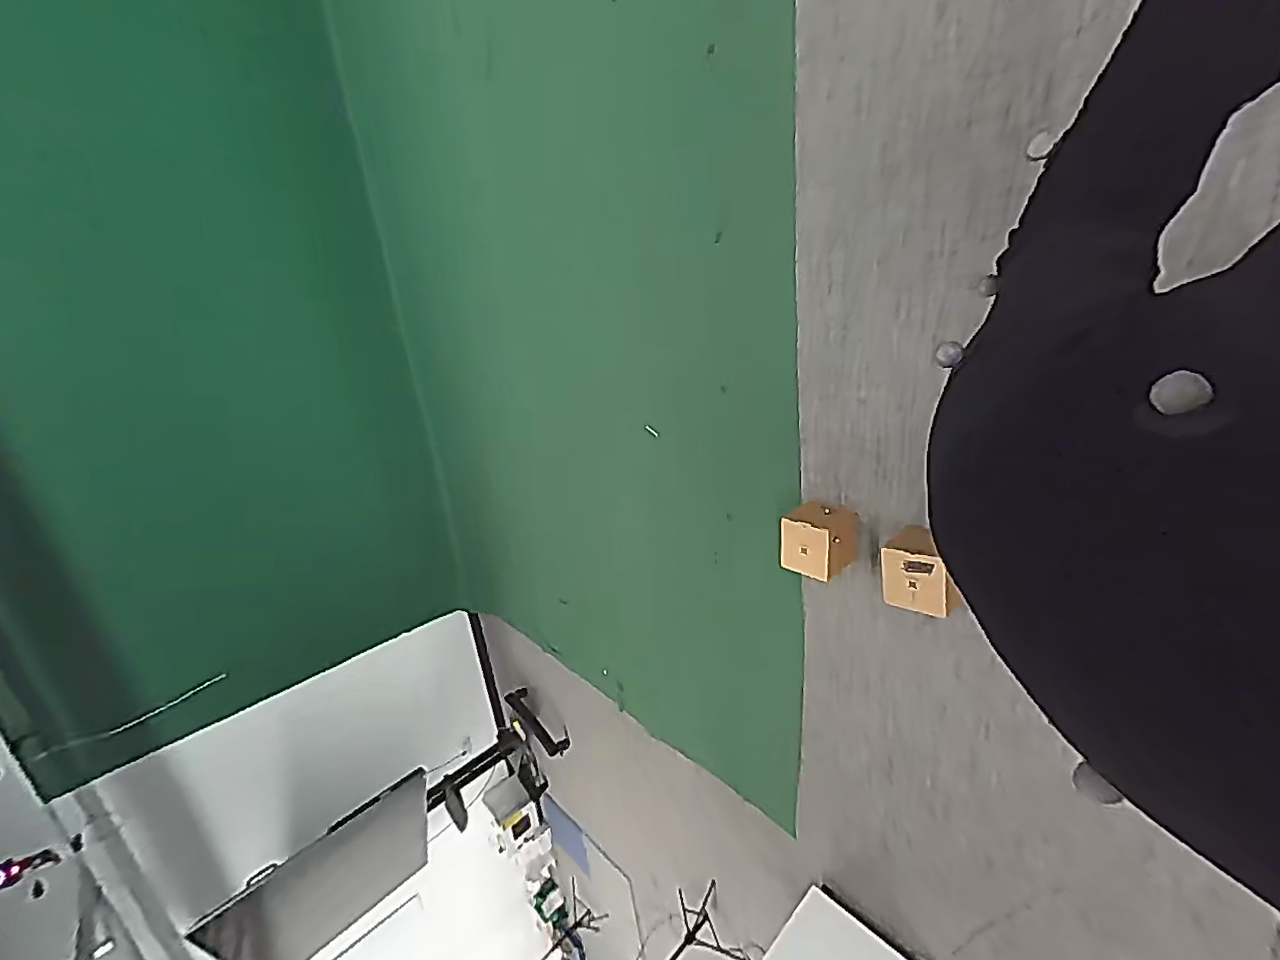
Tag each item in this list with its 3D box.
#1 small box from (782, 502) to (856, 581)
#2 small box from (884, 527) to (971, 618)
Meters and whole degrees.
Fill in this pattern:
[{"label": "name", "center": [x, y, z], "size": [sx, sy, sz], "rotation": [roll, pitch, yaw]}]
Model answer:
[{"label": "small box", "center": [0.565, 0.188, 1.705], "size": [0.168, 0.176, 0.179], "rotation": [15, 117, 45]}, {"label": "small box", "center": [0.784, 0.243, 1.472], "size": [0.168, 0.176, 0.179], "rotation": [8, 114, 48]}]
